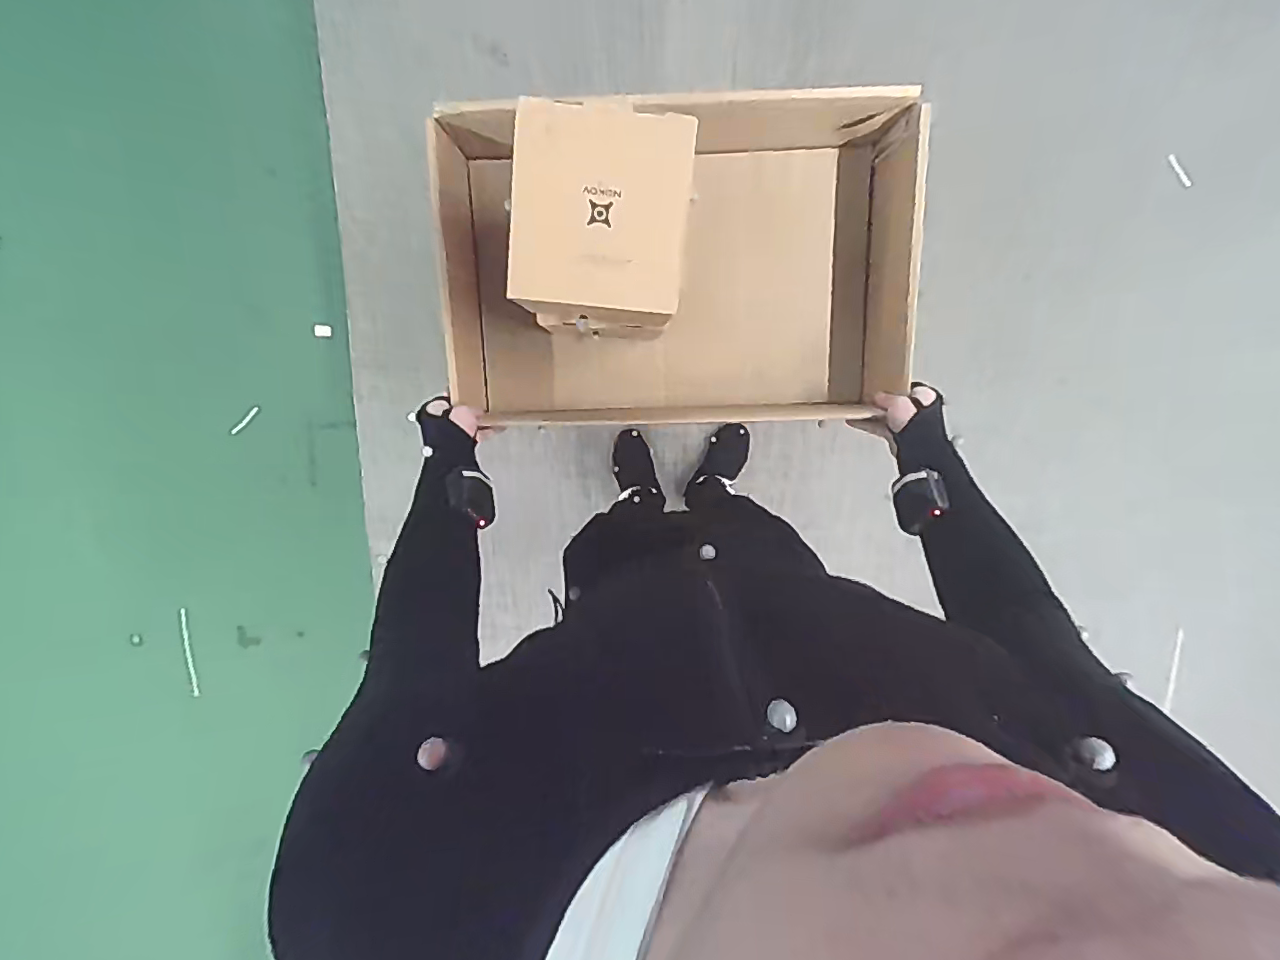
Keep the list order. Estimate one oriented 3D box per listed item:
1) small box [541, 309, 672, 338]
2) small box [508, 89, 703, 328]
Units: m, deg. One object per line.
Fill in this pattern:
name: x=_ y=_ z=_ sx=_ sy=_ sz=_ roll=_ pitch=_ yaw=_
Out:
small box: x=-0.041 y=-0.292 z=0.734 sx=0.168 sy=0.176 sz=0.179 roll=2 pitch=102 yaw=-2
small box: x=-0.037 y=-0.266 z=0.572 sx=0.168 sy=0.176 sz=0.179 roll=6 pitch=101 yaw=-3
